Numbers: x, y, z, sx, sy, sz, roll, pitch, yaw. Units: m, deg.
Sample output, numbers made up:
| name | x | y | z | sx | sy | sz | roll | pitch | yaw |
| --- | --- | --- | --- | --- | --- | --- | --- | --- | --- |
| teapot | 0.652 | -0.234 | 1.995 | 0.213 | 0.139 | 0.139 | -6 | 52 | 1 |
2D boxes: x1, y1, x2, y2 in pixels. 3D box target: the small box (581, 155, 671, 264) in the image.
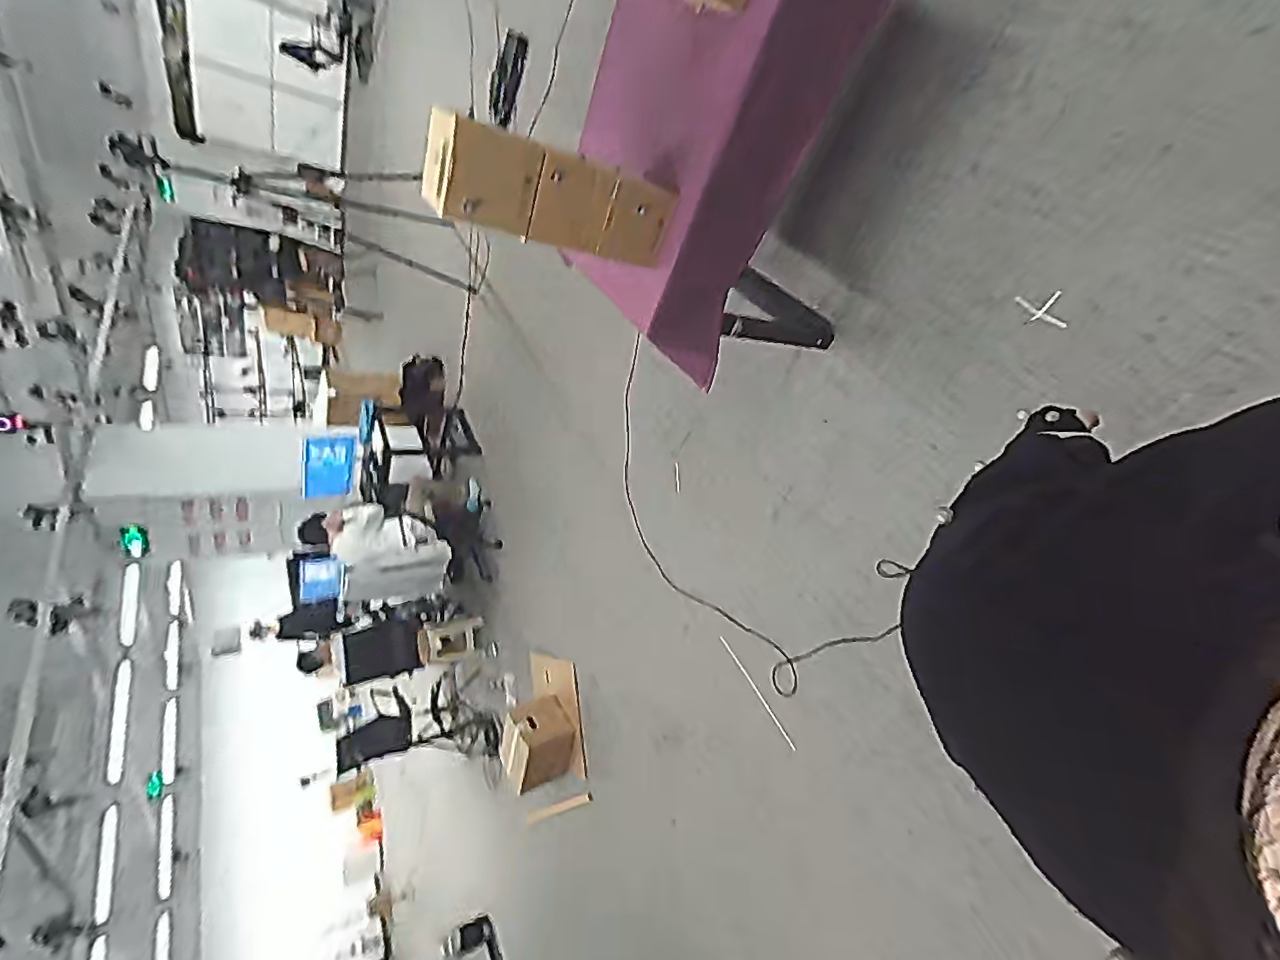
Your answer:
| name | x | y | z | sx | sy | sz | roll | pitch | yaw |
| --- | --- | --- | --- | --- | --- | --- | --- | --- | --- |
| small box | -0.055 | -0.617 | 1.248 | 0.179 | 0.176 | 0.168 | 53 | 131 | 38 |

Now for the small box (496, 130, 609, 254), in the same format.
| name | x | y | z | sx | sy | sz | roll | pitch | yaw |
| --- | --- | --- | --- | --- | --- | --- | --- | --- | --- |
| small box | -0.187 | -0.606 | 1.153 | 0.168 | 0.176 | 0.179 | 50 | 129 | 38 |

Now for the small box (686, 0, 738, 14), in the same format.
| name | x | y | z | sx | sy | sz | roll | pitch | yaw |
| --- | --- | --- | --- | --- | --- | --- | --- | --- | --- |
| small box | 0.112 | -1.001 | 0.993 | 0.179 | 0.176 | 0.168 | 53 | 132 | 36 |
